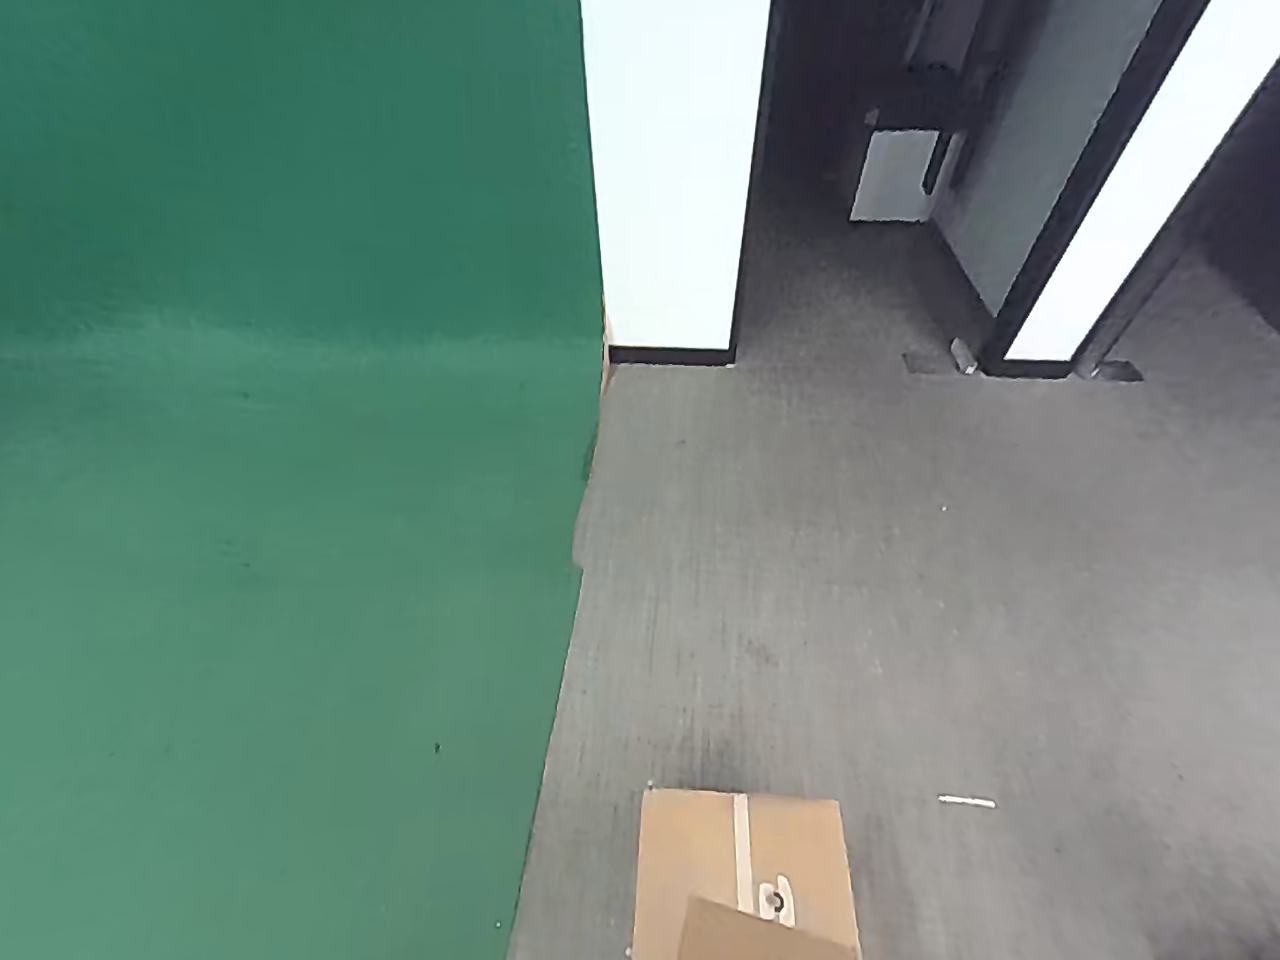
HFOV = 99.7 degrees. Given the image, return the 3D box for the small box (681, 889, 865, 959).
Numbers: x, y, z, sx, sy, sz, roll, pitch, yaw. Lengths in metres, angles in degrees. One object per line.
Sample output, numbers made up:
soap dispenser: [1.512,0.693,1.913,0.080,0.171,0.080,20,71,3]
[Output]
small box: [0.112,0.547,0.504,0.179,0.176,0.168,11,13,10]

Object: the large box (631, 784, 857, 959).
large box: [0.149,0.745,0.844,0.320,0.320,0.408,2,48,4]
